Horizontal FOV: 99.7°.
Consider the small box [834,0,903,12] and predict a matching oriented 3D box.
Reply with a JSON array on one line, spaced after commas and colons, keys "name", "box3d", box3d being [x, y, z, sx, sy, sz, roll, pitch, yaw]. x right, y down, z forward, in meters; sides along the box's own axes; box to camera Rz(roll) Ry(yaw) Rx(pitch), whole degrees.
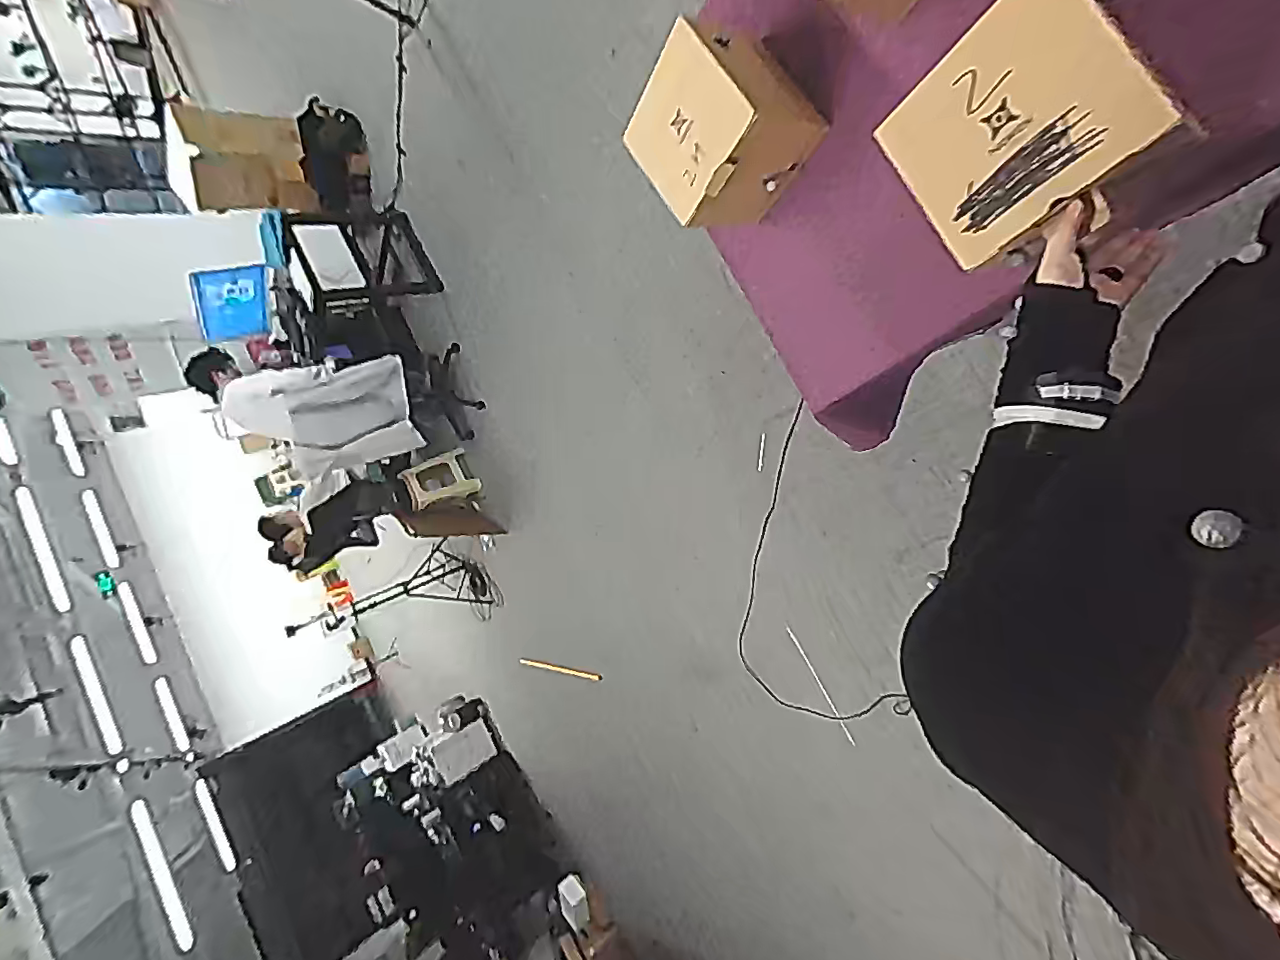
[{"name": "small box", "box3d": [0.242, -0.619, 0.539, 0.168, 0.176, 0.179, -36, 80, 51]}]

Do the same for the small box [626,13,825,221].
[{"name": "small box", "box3d": [0.117, -0.489, 0.755, 0.179, 0.176, 0.168, 59, 142, 11]}]
